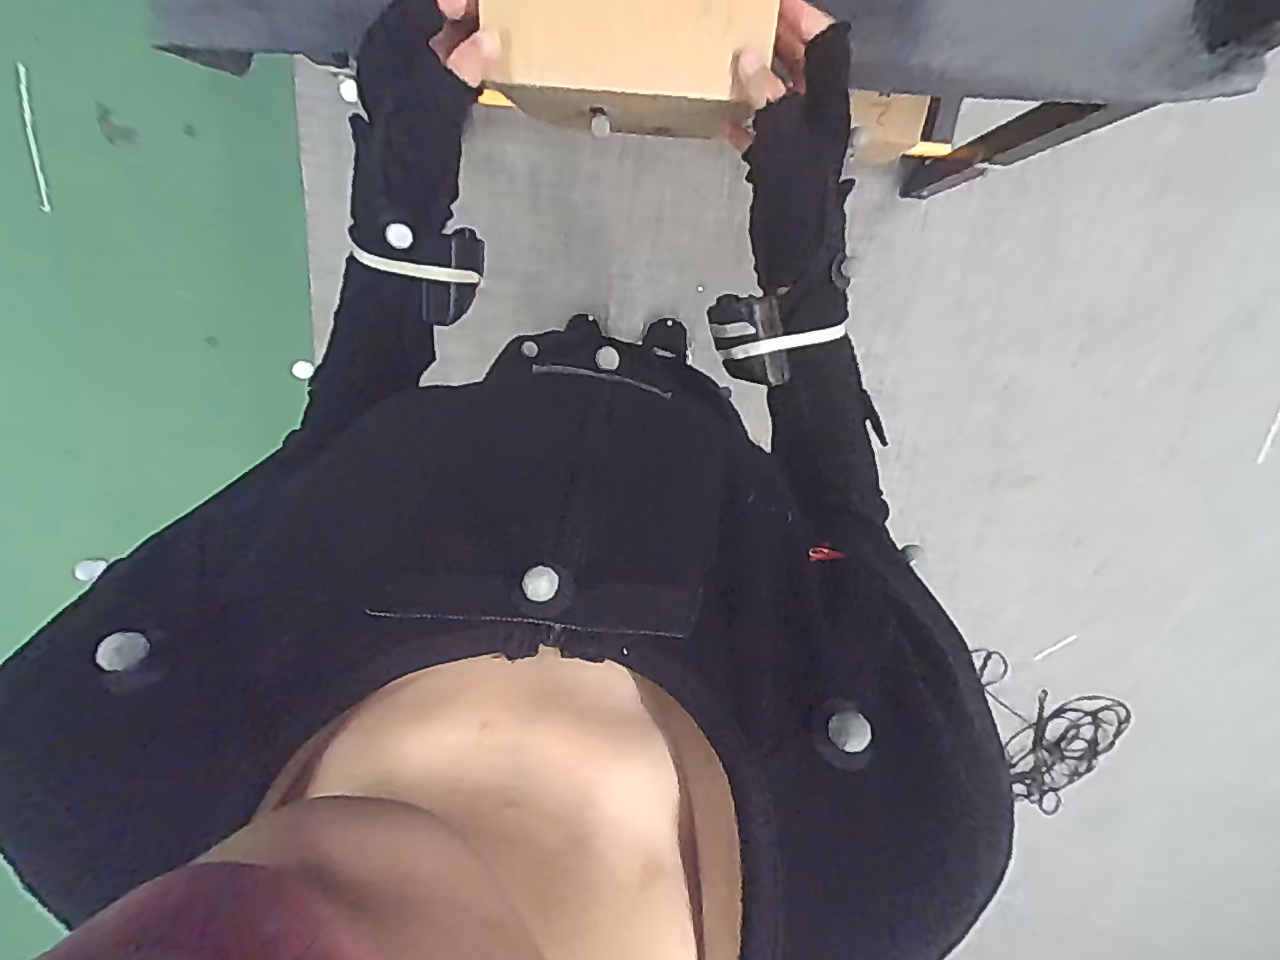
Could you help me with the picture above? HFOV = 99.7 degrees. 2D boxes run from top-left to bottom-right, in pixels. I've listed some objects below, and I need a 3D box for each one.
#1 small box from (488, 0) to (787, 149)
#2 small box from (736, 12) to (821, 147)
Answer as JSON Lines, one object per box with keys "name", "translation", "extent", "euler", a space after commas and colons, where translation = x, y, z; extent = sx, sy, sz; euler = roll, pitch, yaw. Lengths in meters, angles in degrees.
{"name": "small box", "translation": [0.005, -0.329, 0.350], "extent": [0.168, 0.176, 0.179], "euler": [4, 113, 0]}
{"name": "small box", "translation": [0.234, -0.774, 1.058], "extent": [0.168, 0.176, 0.179], "euler": [6, 108, 0]}
